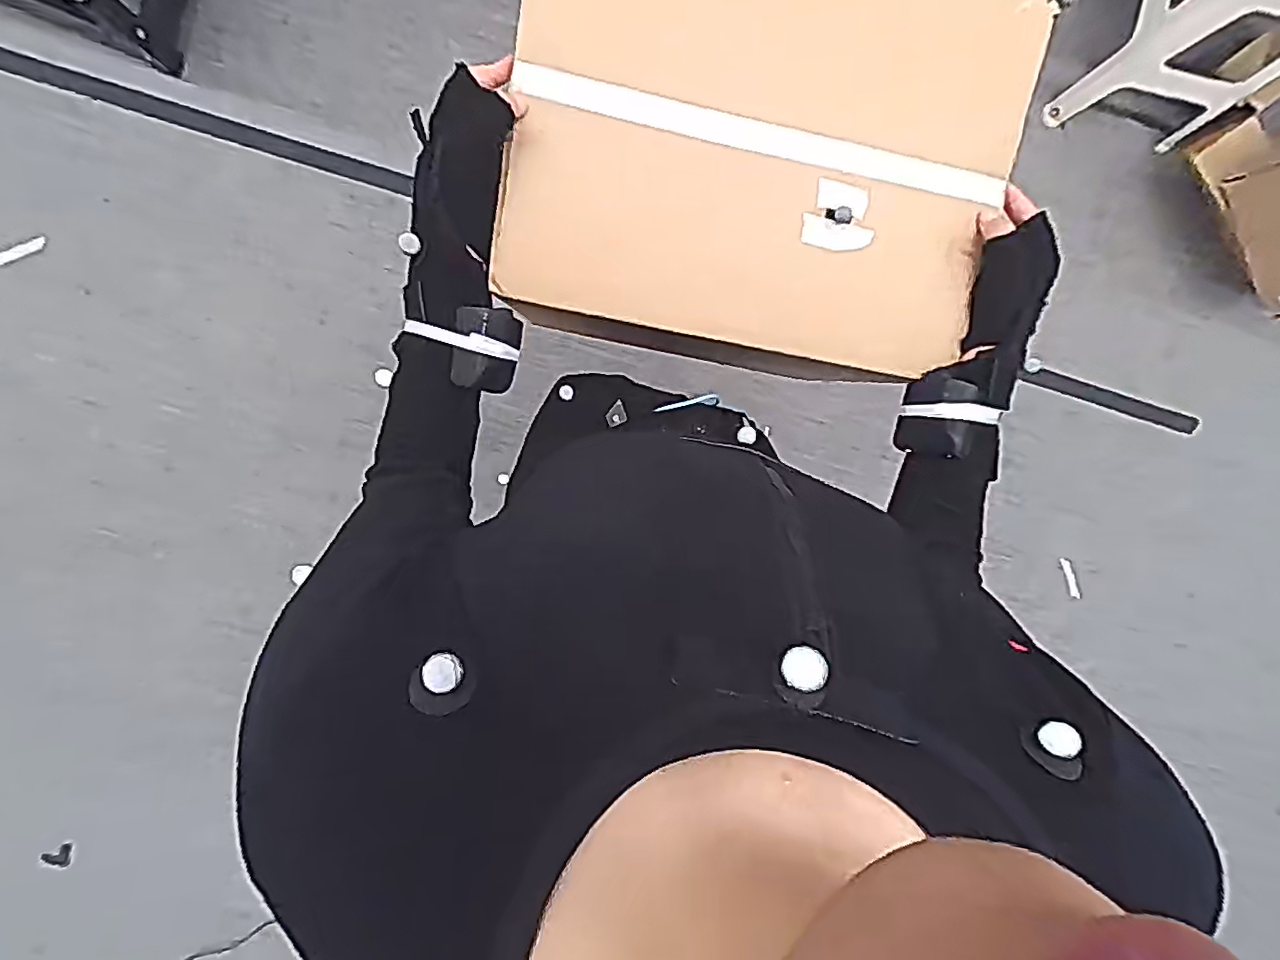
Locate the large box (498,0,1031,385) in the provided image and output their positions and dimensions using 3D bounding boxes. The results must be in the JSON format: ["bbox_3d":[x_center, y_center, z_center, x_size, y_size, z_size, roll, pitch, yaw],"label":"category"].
[{"bbox_3d":[0.085,-0.292,0.586,0.408,0.320,0.320,10,101,-8],"label":"large box"}]
